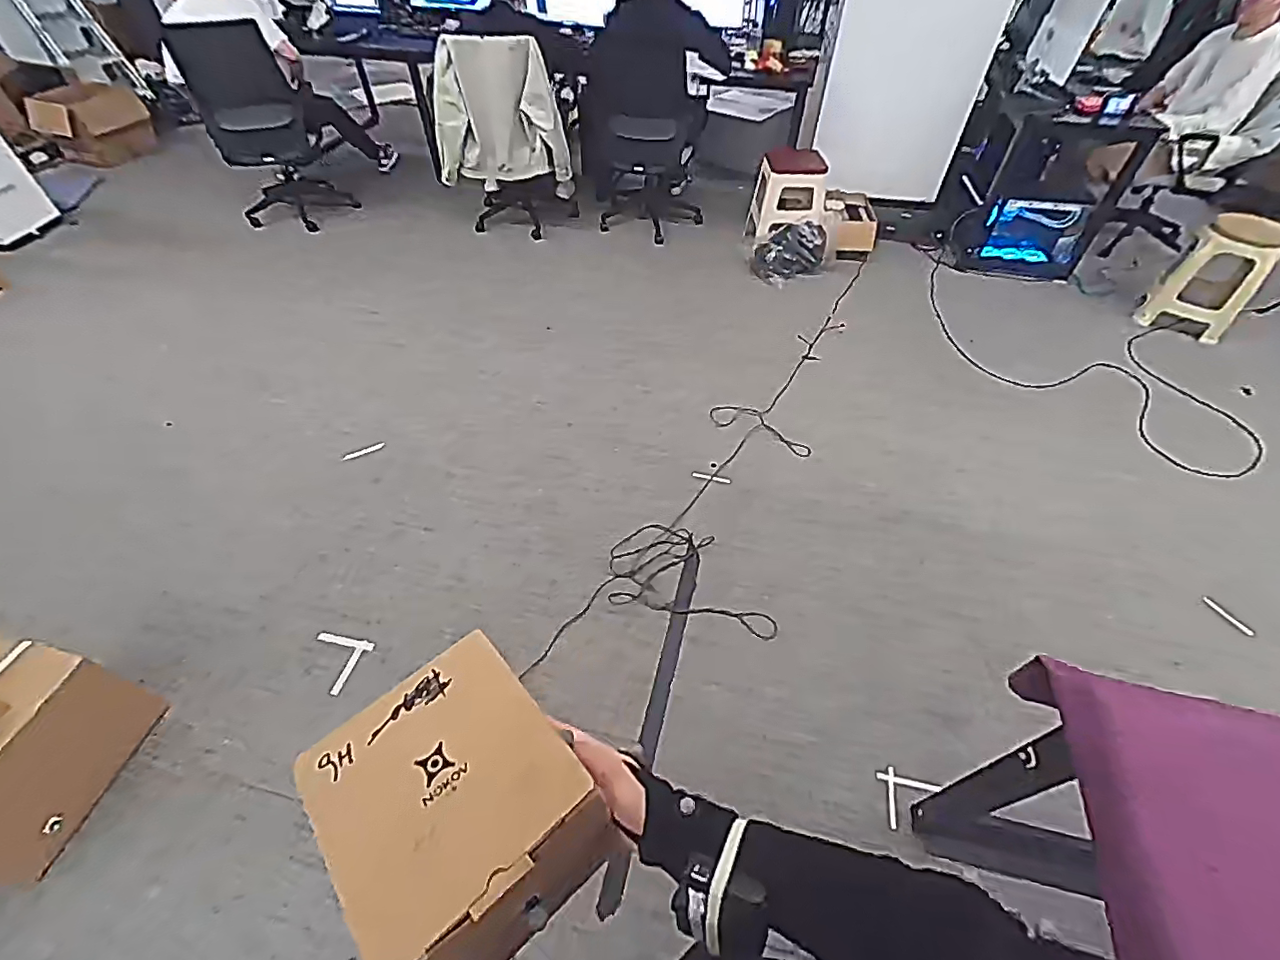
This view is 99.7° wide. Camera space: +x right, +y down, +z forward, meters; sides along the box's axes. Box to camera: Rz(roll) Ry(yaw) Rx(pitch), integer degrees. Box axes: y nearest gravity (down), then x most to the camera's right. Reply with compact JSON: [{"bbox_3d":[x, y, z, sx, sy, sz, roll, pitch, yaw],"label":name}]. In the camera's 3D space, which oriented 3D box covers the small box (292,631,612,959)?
[{"bbox_3d":[-0.140,0.269,0.449,0.168,0.176,0.179,-34,52,-25],"label":"small box"}]
